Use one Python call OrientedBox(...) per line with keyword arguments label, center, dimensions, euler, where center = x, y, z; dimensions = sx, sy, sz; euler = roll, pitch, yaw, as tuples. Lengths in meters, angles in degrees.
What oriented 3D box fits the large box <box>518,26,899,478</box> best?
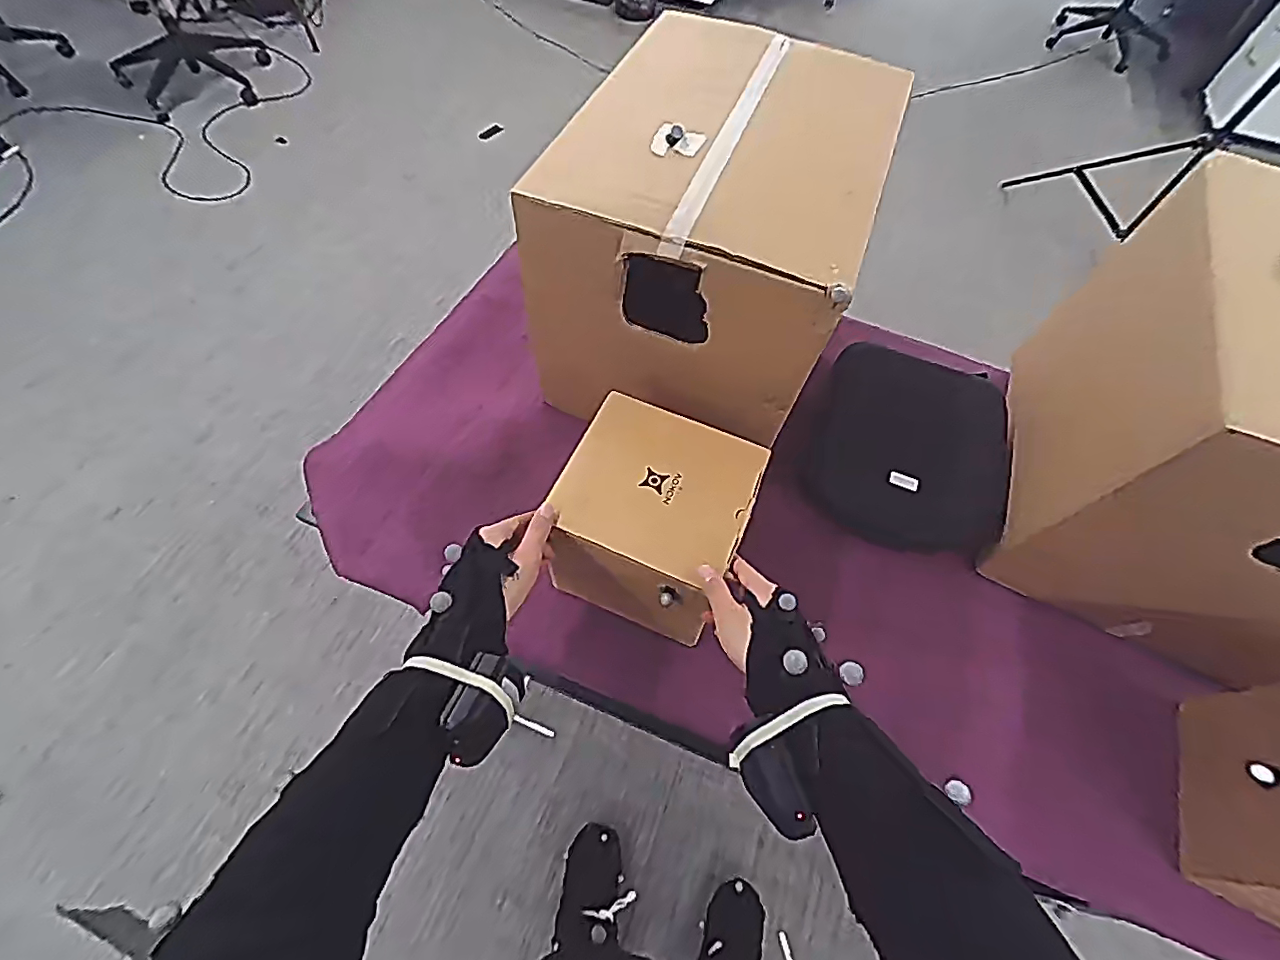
OrientedBox(label="large box", center=(0.087, -0.279, 0.691), dimensions=(0.320, 0.320, 0.408), euler=(19, 63, 8))
